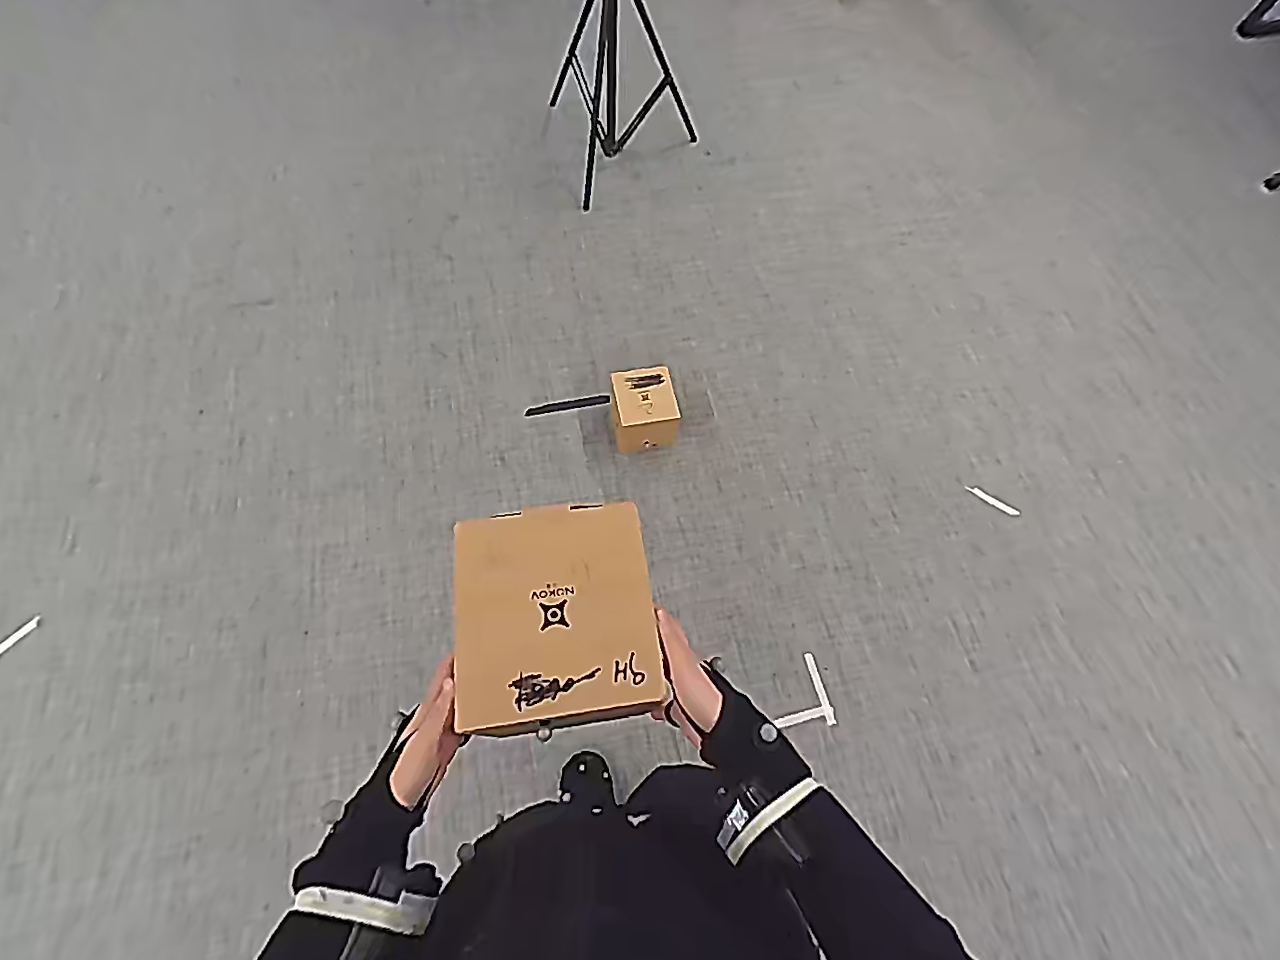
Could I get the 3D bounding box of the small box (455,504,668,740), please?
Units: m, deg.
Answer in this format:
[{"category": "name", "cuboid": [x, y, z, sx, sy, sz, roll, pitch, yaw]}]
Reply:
[{"category": "small box", "cuboid": [-0.075, 0.142, 0.522, 0.168, 0.176, 0.179, -6, 64, -7]}]
